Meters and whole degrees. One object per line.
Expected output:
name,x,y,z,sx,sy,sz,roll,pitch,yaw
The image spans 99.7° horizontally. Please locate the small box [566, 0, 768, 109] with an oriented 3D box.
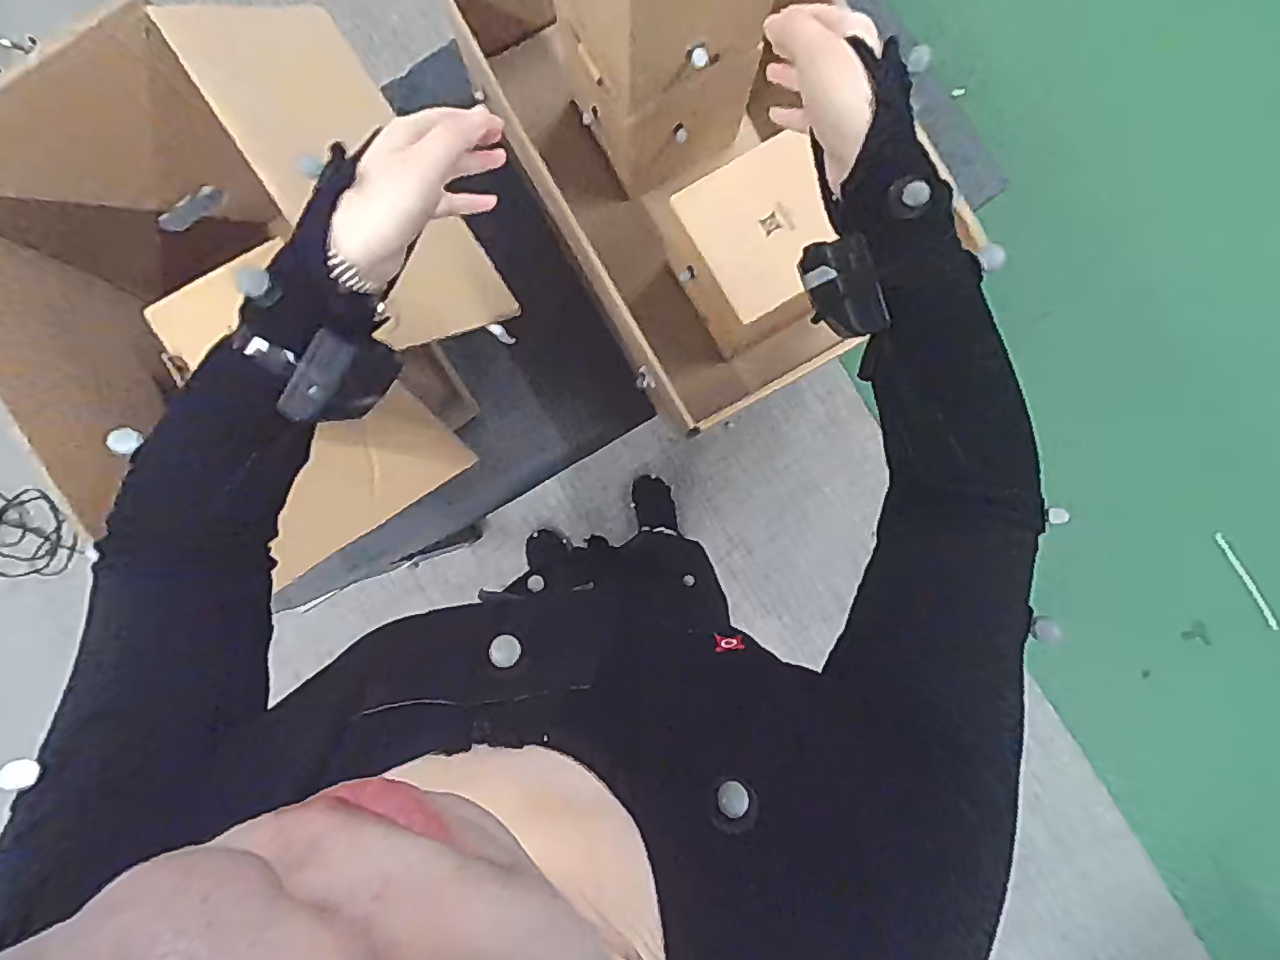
small box,0.017,-0.510,0.508,0.168,0.176,0.179,-29,92,-1
